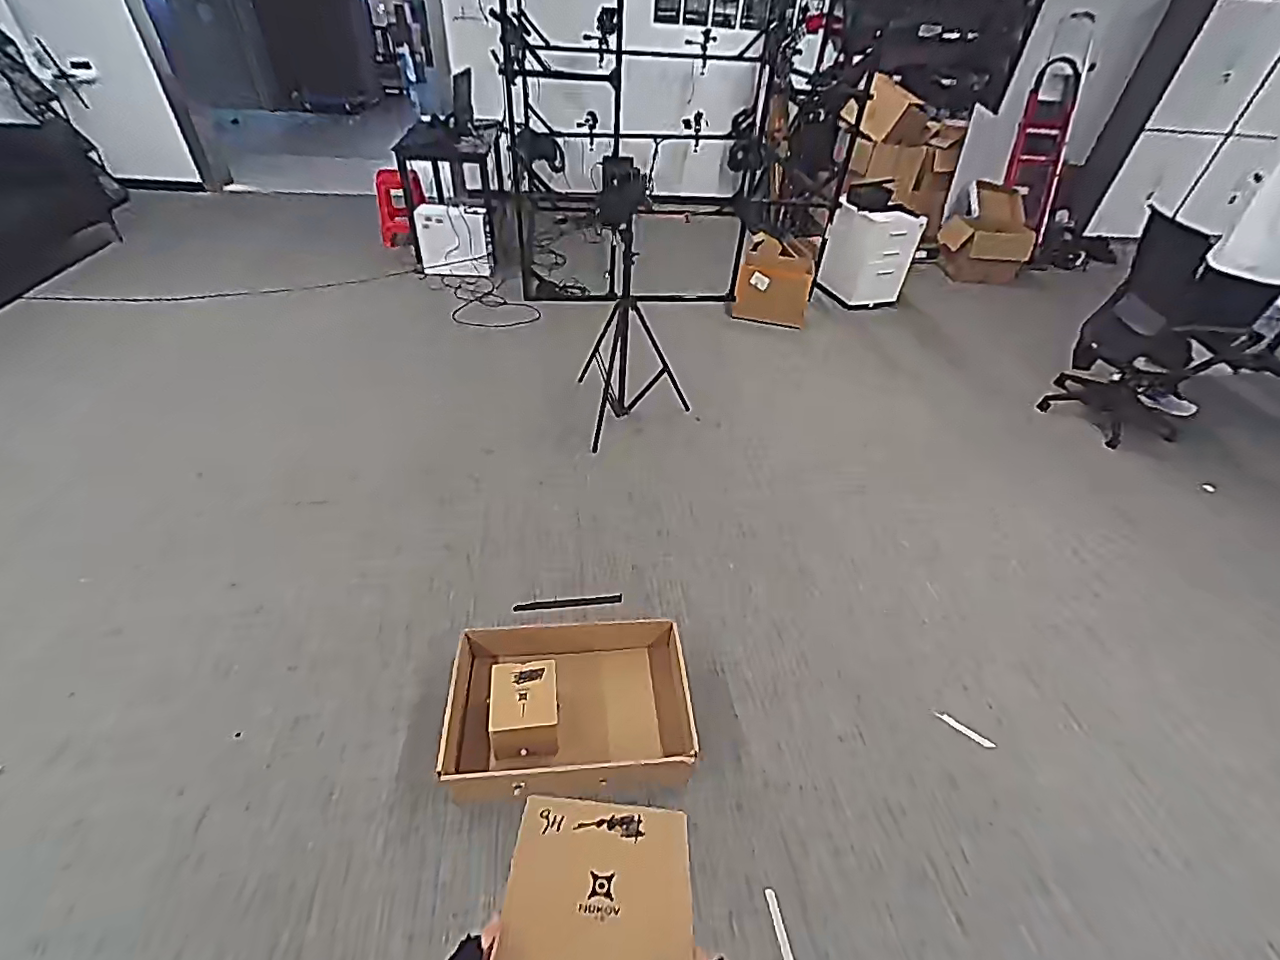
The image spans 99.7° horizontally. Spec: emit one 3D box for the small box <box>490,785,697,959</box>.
[{"bbox_3d":[-0.041,0.427,0.505,0.168,0.176,0.179,7,25,-1],"label":"small box"}]

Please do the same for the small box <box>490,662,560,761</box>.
[{"bbox_3d":[-0.294,0.601,1.407,0.168,0.176,0.179,-3,42,-9],"label":"small box"}]
